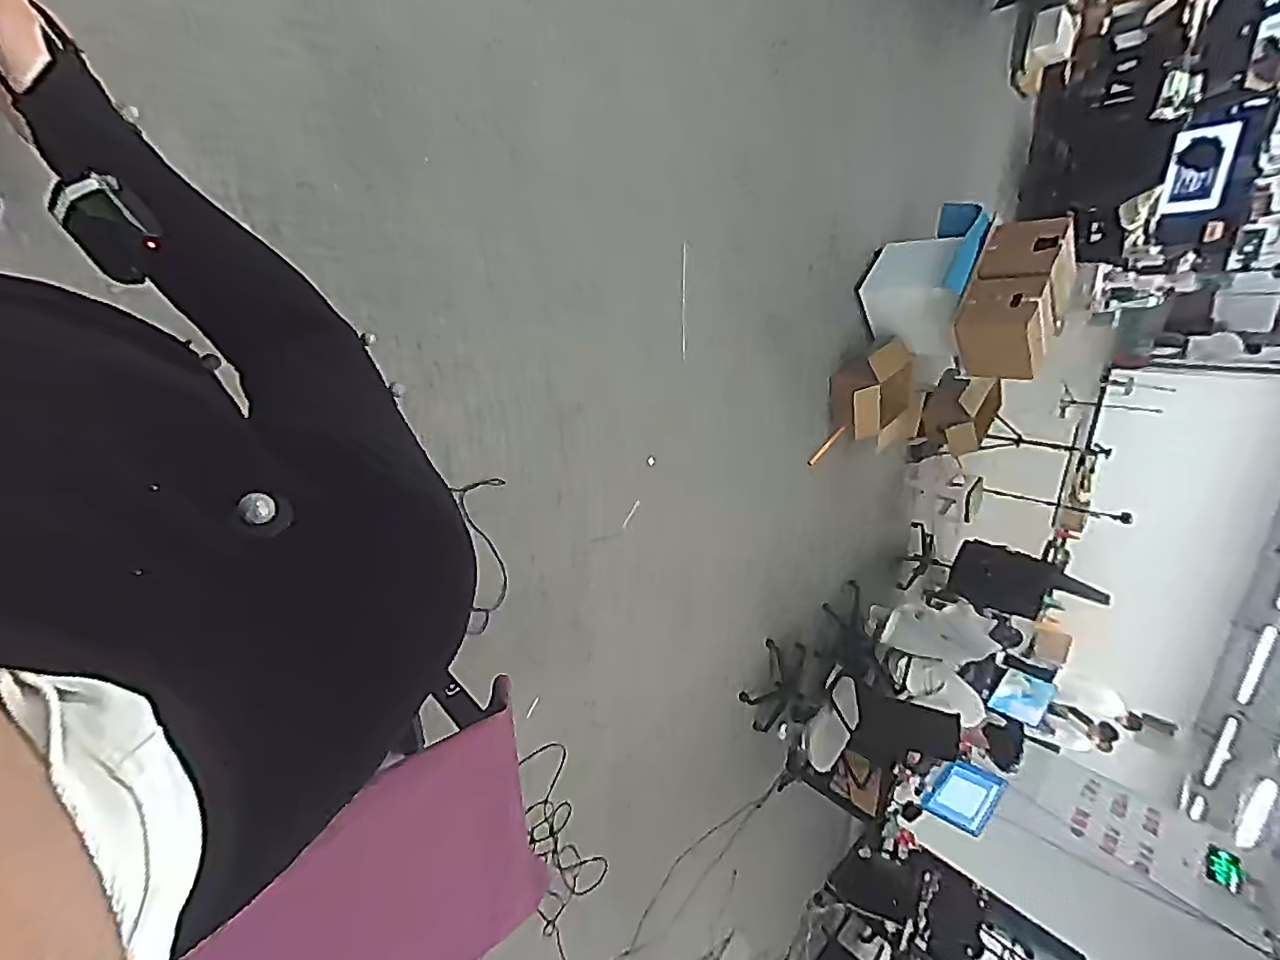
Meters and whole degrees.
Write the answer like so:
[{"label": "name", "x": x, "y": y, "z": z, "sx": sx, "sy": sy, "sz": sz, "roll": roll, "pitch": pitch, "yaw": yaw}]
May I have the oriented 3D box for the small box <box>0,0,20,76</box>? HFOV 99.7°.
[{"label": "small box", "x": -0.593, "y": -0.426, "z": 0.384, "sx": 0.179, "sy": 0.176, "sz": 0.168, "roll": -5, "pitch": 110, "yaw": -43}]
